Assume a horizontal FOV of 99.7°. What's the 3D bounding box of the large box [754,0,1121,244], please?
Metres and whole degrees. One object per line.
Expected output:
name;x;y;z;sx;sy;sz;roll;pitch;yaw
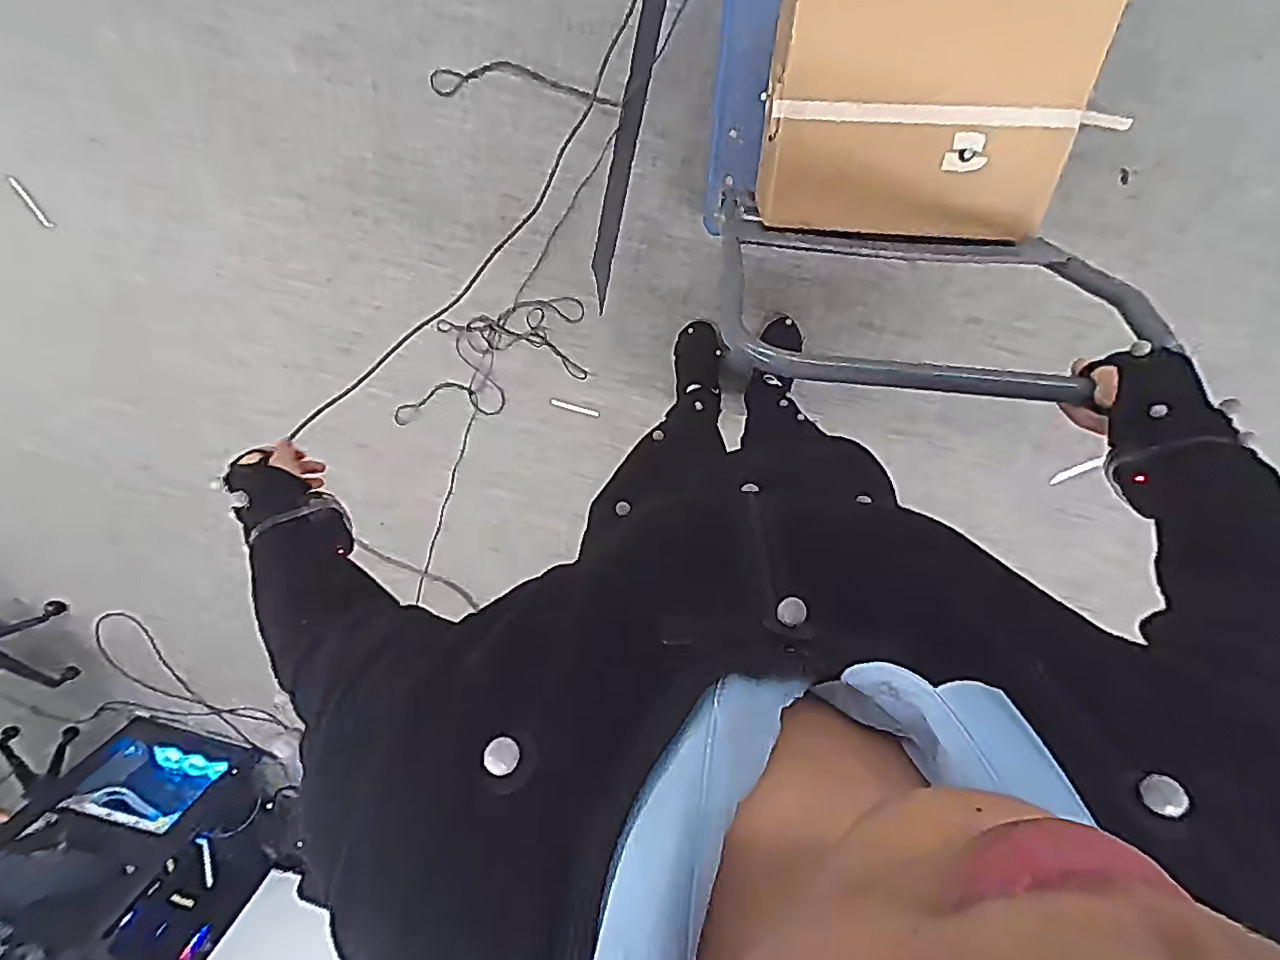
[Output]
large box;0.411;-0.581;0.878;0.408;0.320;0.320;5;124;4
